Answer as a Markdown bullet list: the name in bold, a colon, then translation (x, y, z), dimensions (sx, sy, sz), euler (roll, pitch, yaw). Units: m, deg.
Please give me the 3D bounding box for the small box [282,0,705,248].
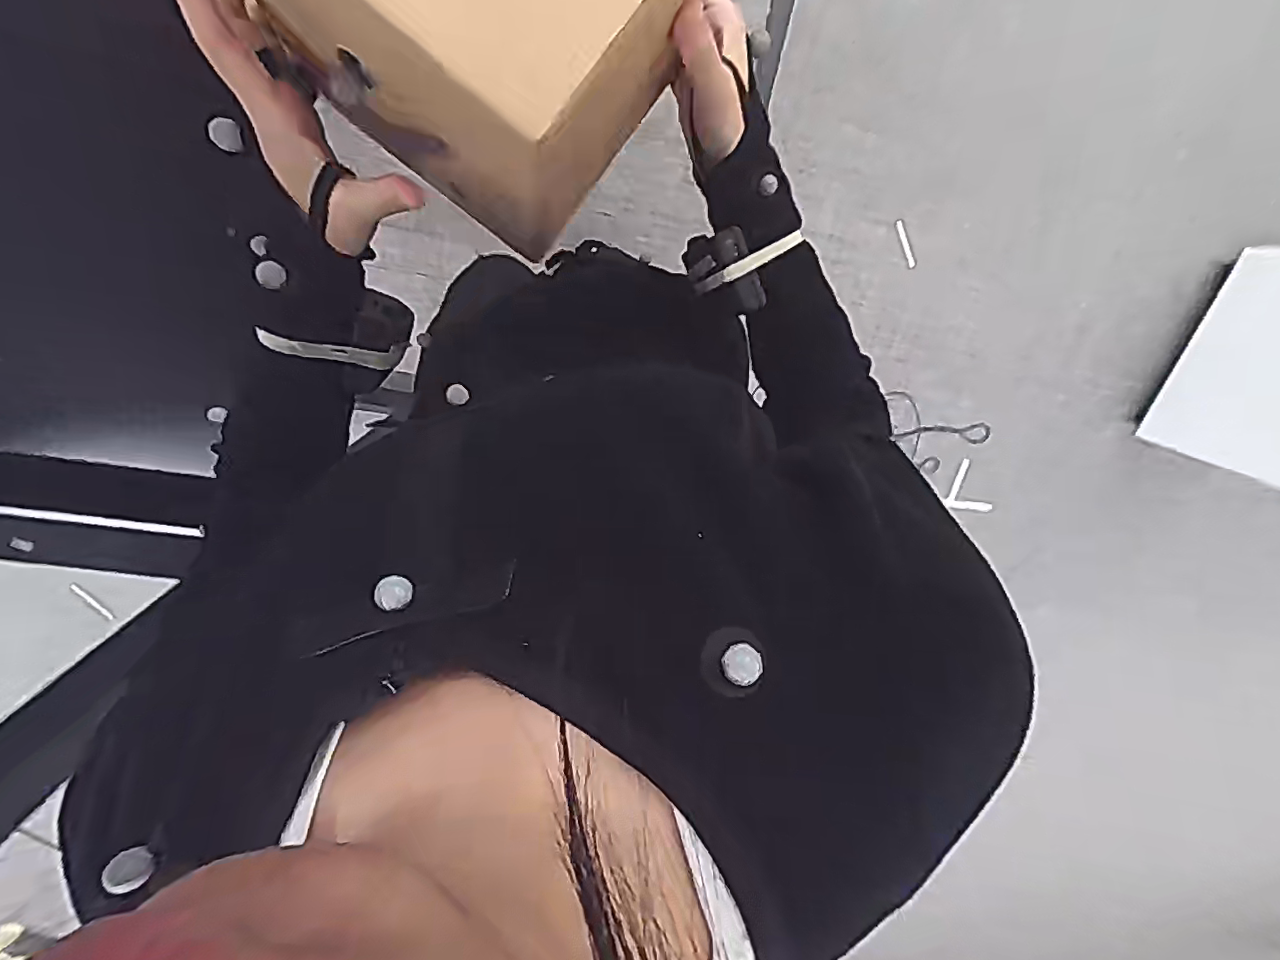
- **small box**: translation (-0.065, -0.258, 0.281), dimensions (0.168, 0.176, 0.179), euler (33, 87, -12)
